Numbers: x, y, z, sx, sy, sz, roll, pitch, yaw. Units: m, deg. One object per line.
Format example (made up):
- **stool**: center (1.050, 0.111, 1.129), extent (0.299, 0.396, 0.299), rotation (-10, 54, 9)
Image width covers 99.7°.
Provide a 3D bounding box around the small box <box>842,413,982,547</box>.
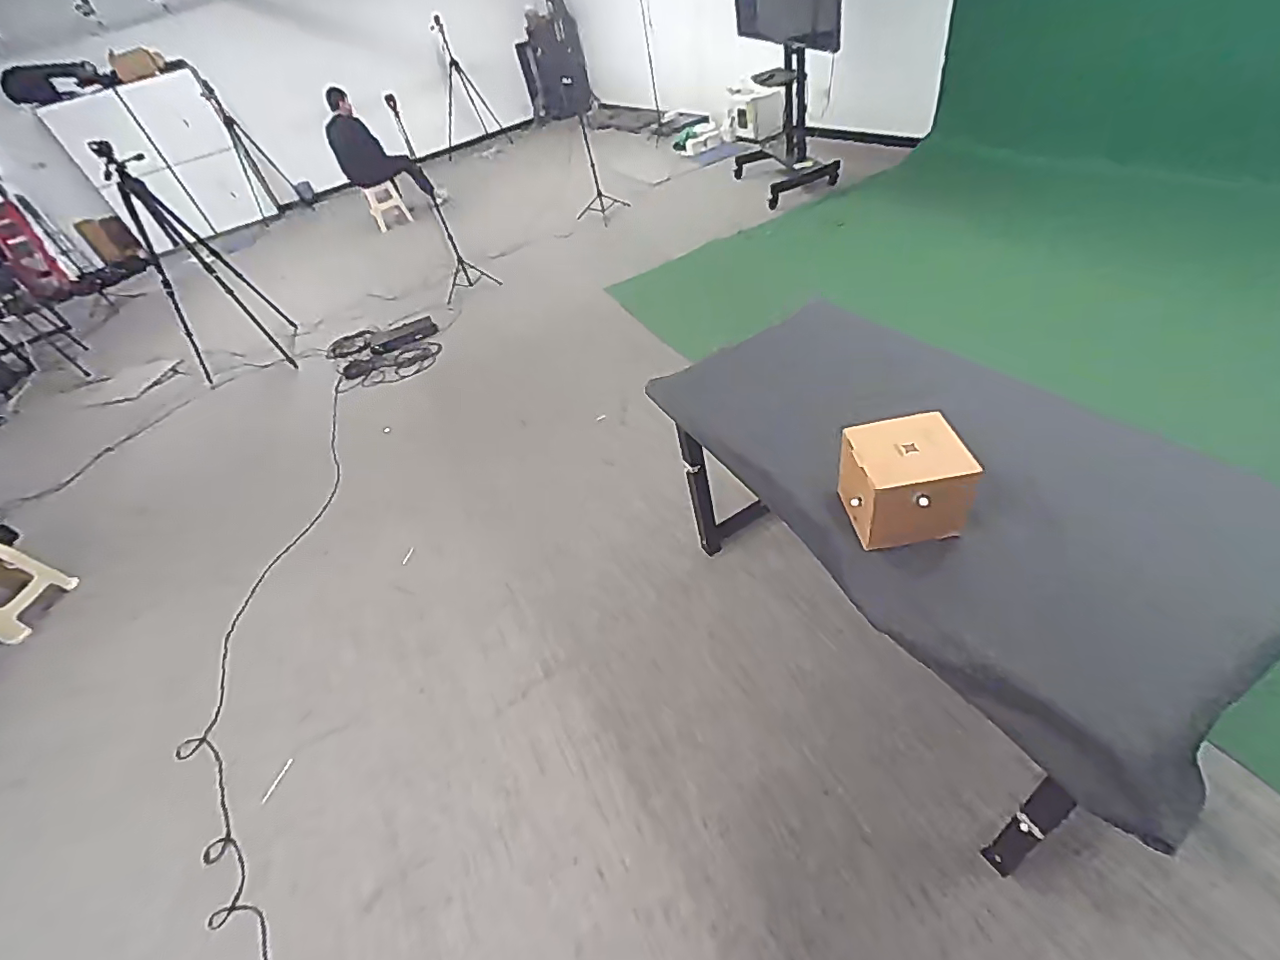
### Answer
- **small box**: center (0.482, 0.004, 0.992), extent (0.179, 0.176, 0.168), rotation (-10, 44, 5)
